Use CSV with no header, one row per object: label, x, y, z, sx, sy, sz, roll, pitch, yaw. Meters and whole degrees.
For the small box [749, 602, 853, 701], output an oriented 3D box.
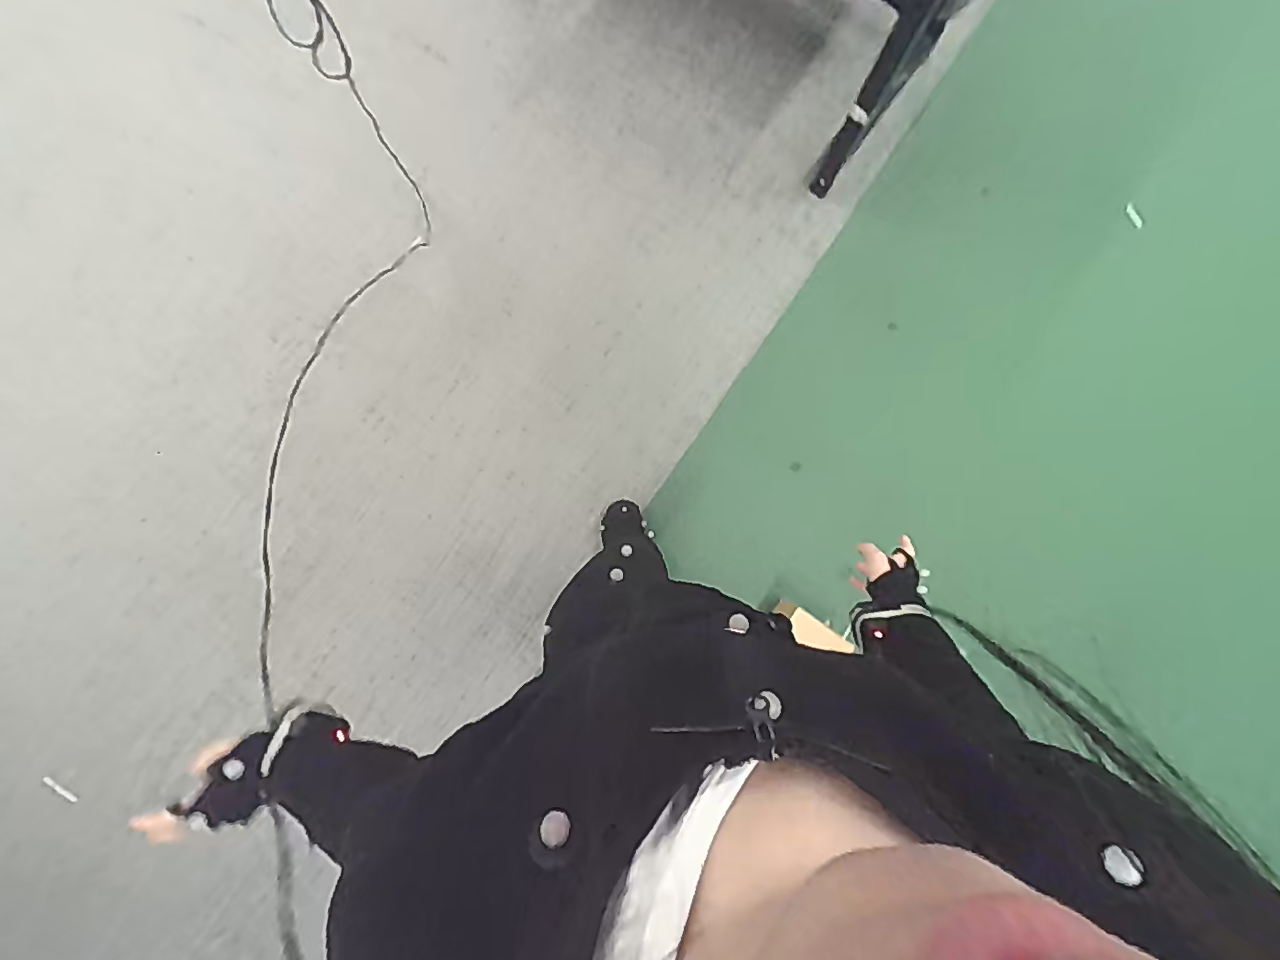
small box,0.411,0.437,1.415,0.179,0.176,0.168,36,86,1
